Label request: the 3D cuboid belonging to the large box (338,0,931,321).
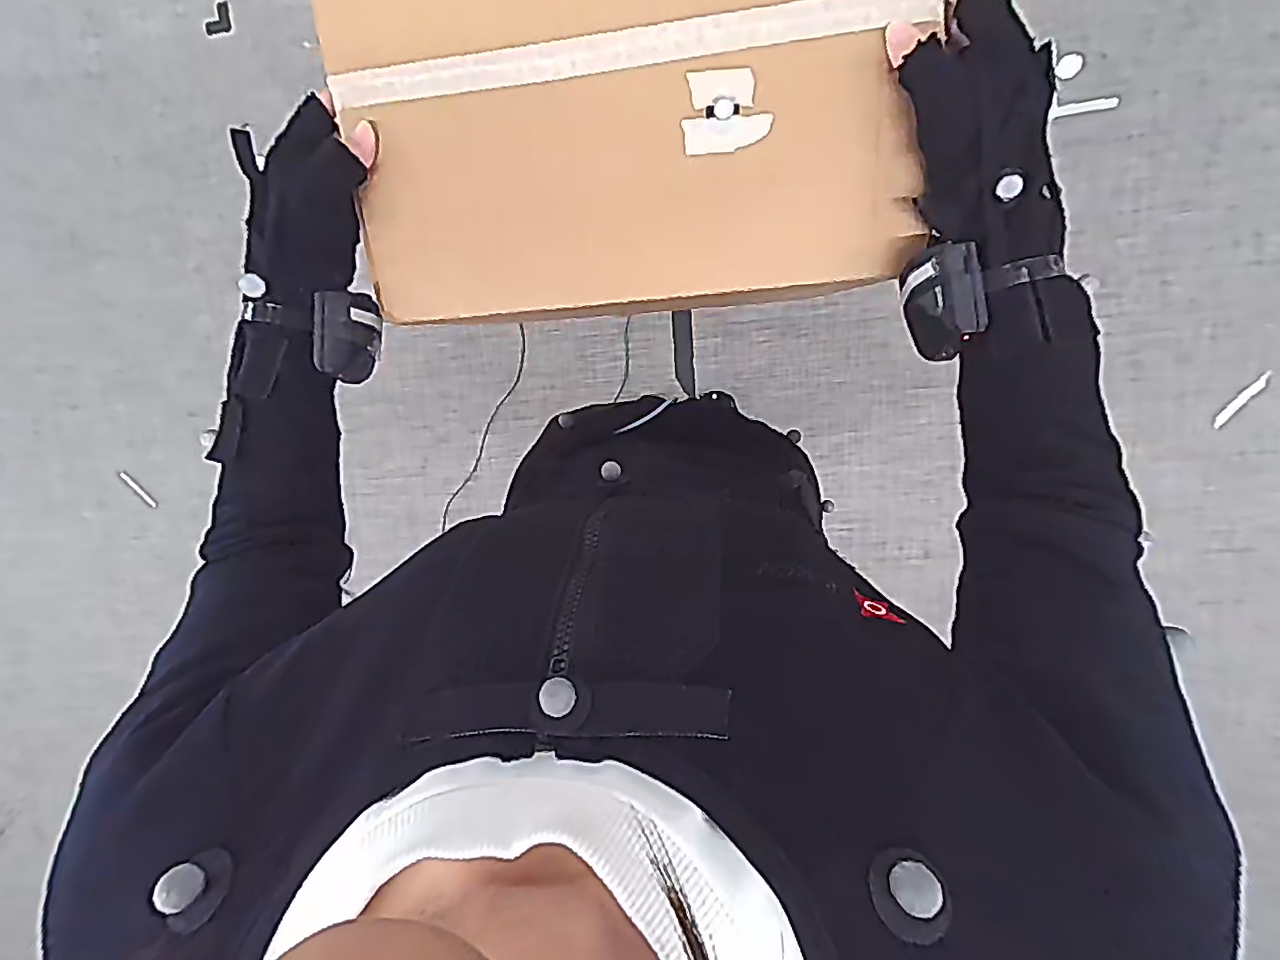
[{"bbox_3d":[0.002,-0.331,0.512,0.408,0.320,0.320,-4,106,6],"label":"large box"}]
